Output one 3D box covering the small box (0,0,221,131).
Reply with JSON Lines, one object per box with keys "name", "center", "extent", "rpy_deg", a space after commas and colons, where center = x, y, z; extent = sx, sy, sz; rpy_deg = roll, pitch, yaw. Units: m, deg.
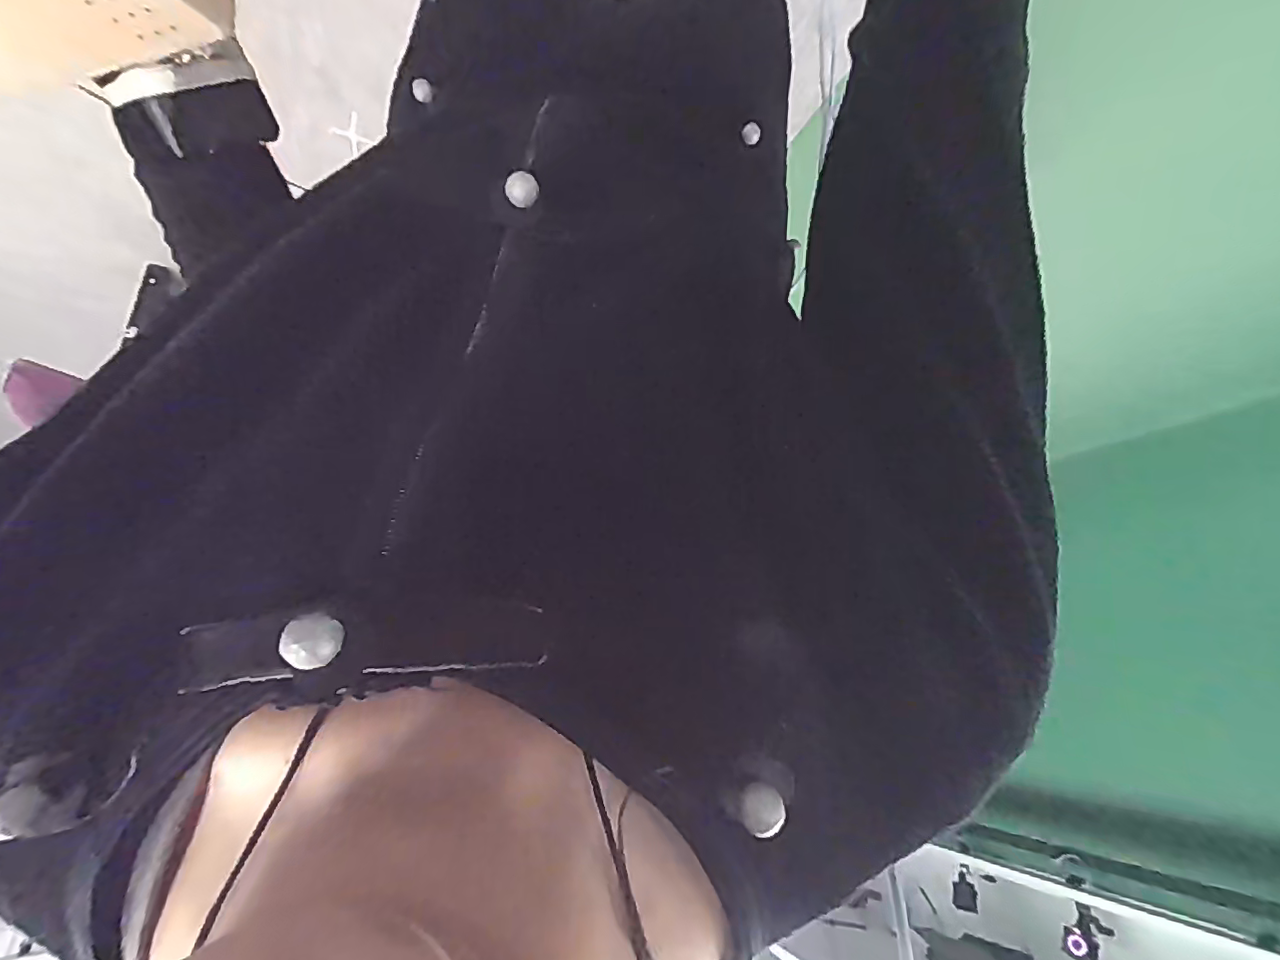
{"name": "small box", "center": [-0.224, -0.211, 0.111], "extent": [0.176, 0.179, 0.168], "rpy_deg": [-1, -177, 14]}
